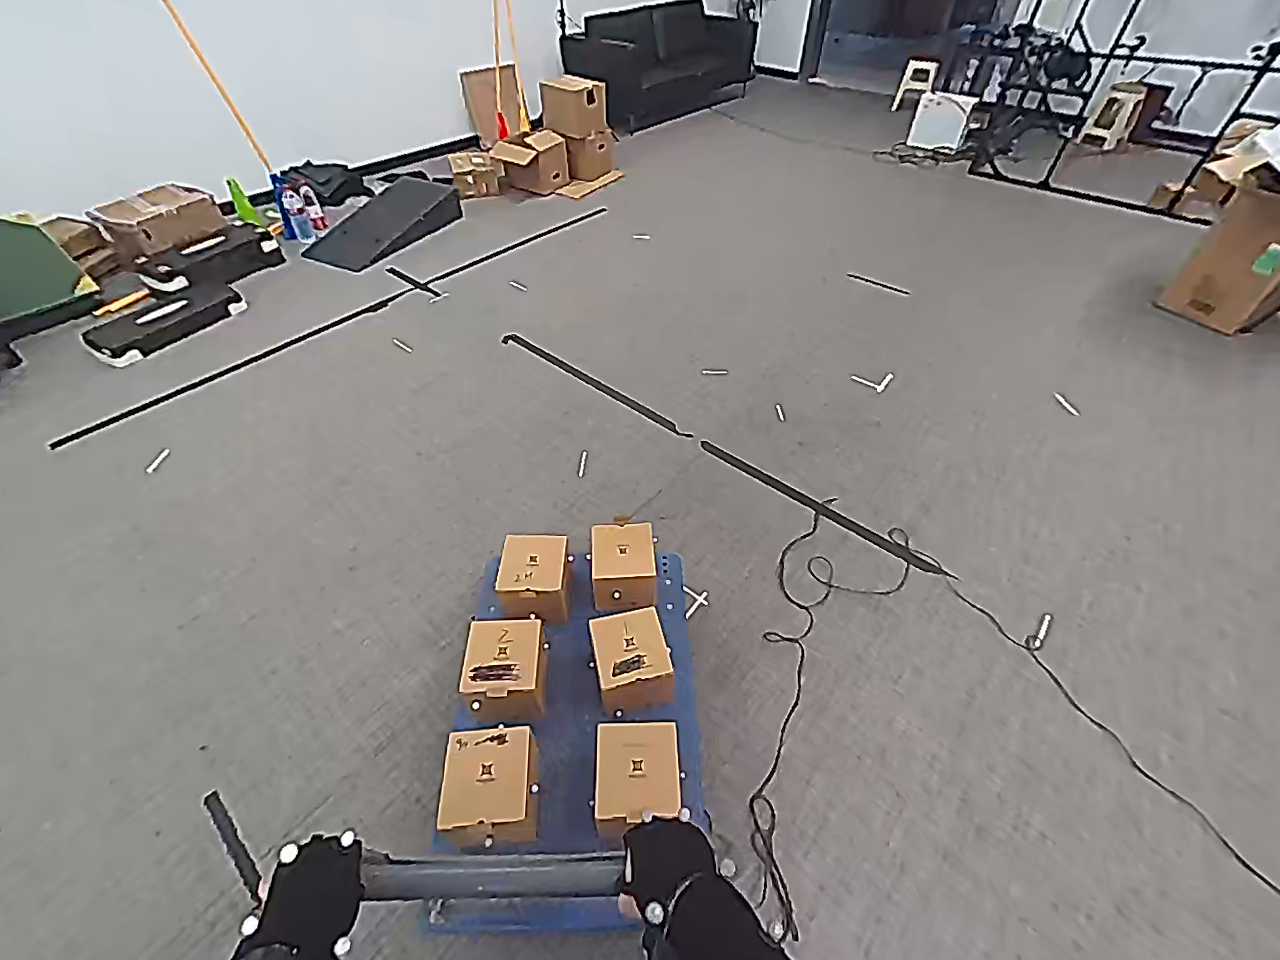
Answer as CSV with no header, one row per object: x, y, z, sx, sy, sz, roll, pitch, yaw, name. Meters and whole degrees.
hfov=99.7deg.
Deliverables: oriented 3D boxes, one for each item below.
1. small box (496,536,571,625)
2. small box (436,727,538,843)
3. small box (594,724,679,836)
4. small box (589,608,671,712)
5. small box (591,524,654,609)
-0.280,0.271,1.460,0.168,0.176,0.179,1,47,0,small box
-0.304,0.634,1.117,0.168,0.176,0.179,-2,47,-4,small box
-0.007,0.629,1.130,0.168,0.176,0.179,0,46,-1,small box
-0.026,0.441,1.306,0.168,0.176,0.179,-9,46,-10,small box
-0.049,0.245,1.494,0.168,0.176,0.179,-3,47,-4,small box
